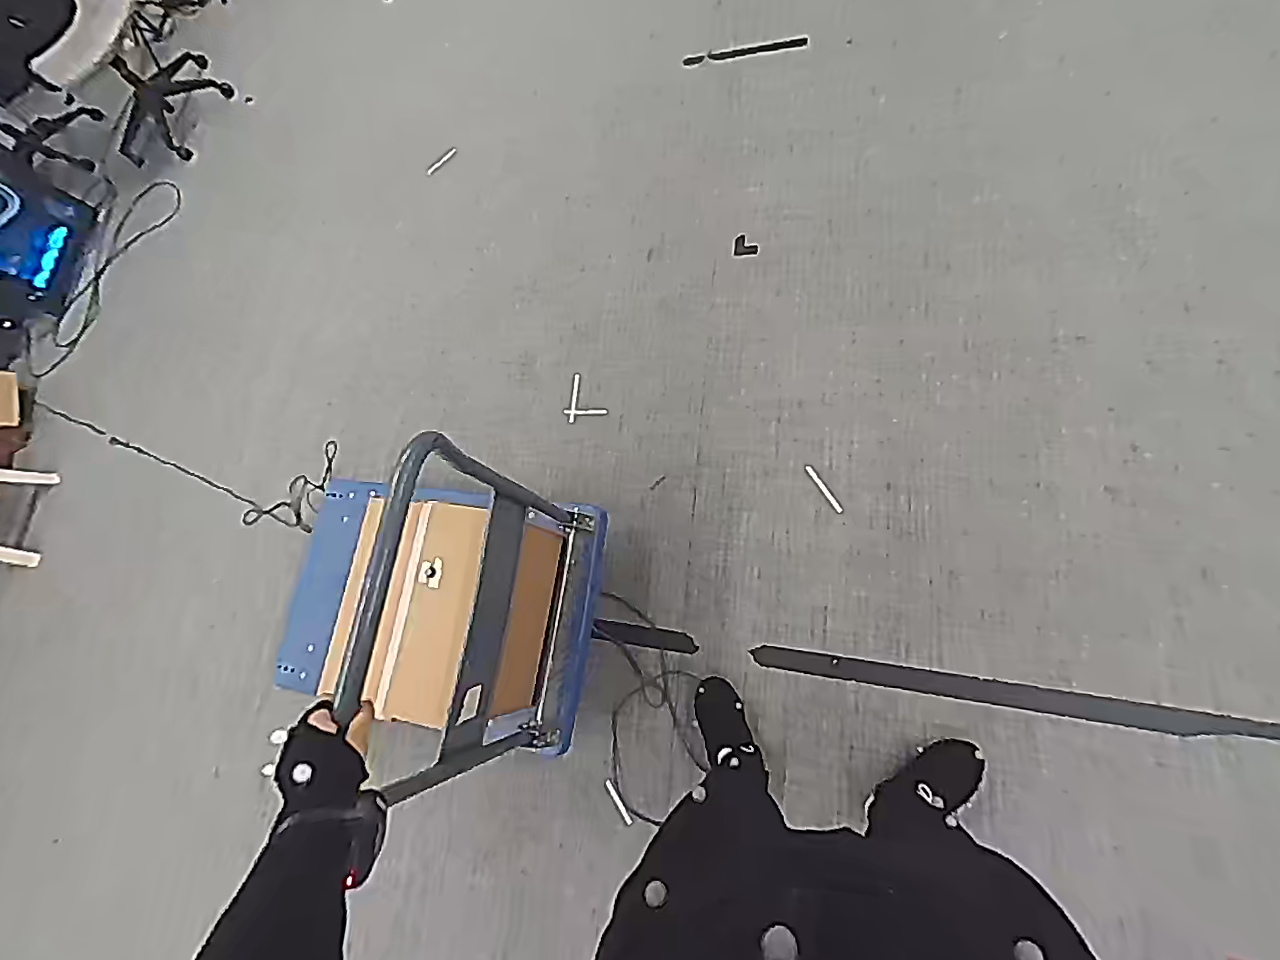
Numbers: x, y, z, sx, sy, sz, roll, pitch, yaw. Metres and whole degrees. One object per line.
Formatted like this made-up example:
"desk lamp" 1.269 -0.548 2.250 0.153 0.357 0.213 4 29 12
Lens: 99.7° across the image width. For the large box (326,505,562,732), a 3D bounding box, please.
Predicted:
"large box" -0.400 0.293 1.188 0.320 0.320 0.408 5 75 18
